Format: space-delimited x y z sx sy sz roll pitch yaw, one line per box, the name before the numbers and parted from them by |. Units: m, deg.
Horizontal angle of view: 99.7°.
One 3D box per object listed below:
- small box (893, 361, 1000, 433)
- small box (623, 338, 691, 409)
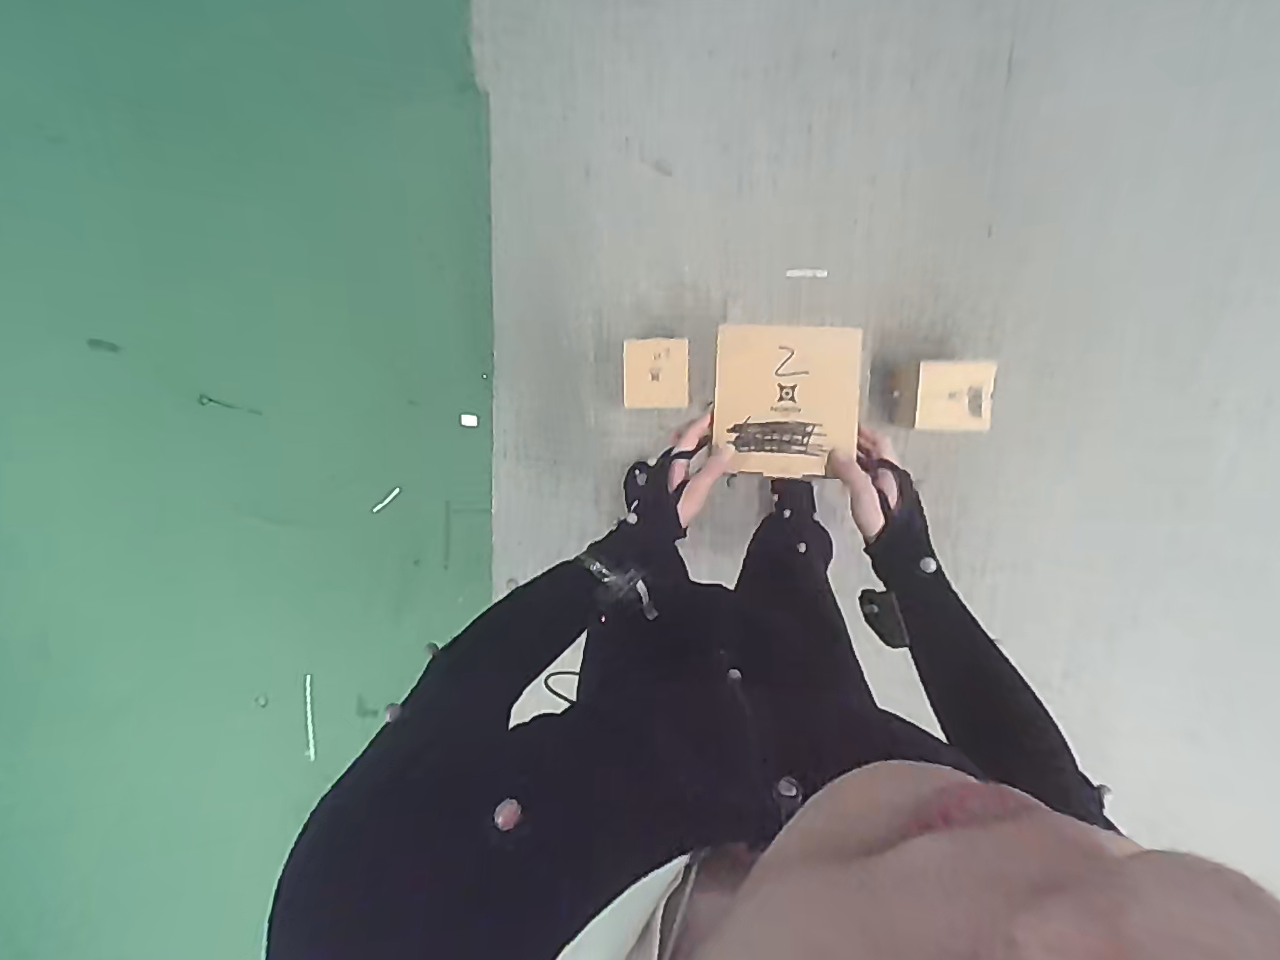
small box | 0.761 -0.209 1.357 0.179 0.176 0.168 2 98 7
small box | 0.049 -0.279 1.437 0.168 0.176 0.179 1 98 6
